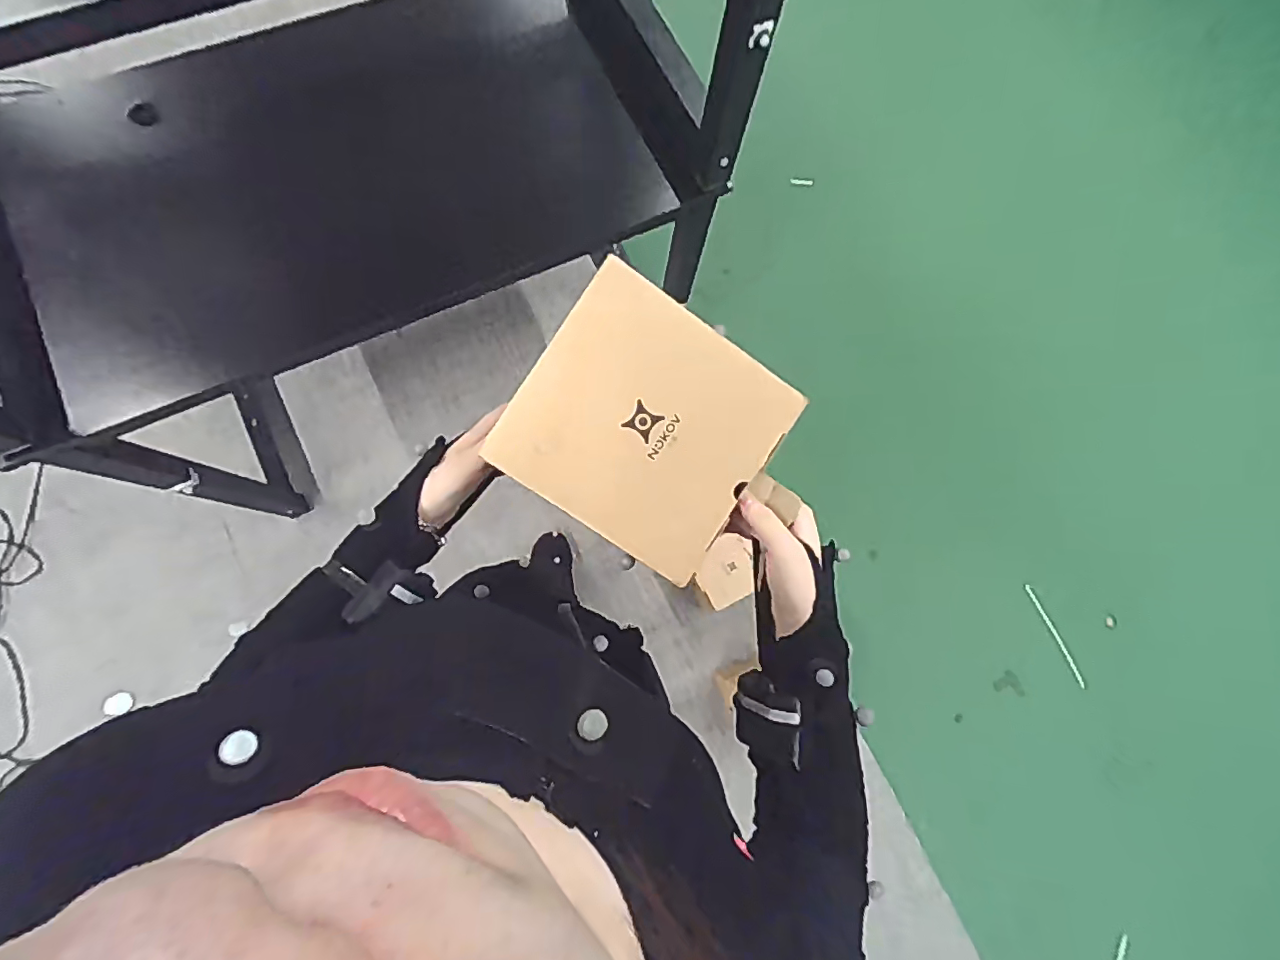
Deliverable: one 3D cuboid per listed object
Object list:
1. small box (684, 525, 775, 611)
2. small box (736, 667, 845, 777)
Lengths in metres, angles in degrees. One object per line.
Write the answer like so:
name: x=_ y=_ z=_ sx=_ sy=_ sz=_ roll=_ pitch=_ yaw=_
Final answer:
small box: x=0.228 y=0.239 z=1.446 sx=0.179 sy=0.176 sz=0.168 roll=-26 pitch=81 yaw=-9
small box: x=0.331 y=0.535 z=1.226 sx=0.168 sy=0.176 sz=0.179 roll=-14 pitch=80 yaw=-5
